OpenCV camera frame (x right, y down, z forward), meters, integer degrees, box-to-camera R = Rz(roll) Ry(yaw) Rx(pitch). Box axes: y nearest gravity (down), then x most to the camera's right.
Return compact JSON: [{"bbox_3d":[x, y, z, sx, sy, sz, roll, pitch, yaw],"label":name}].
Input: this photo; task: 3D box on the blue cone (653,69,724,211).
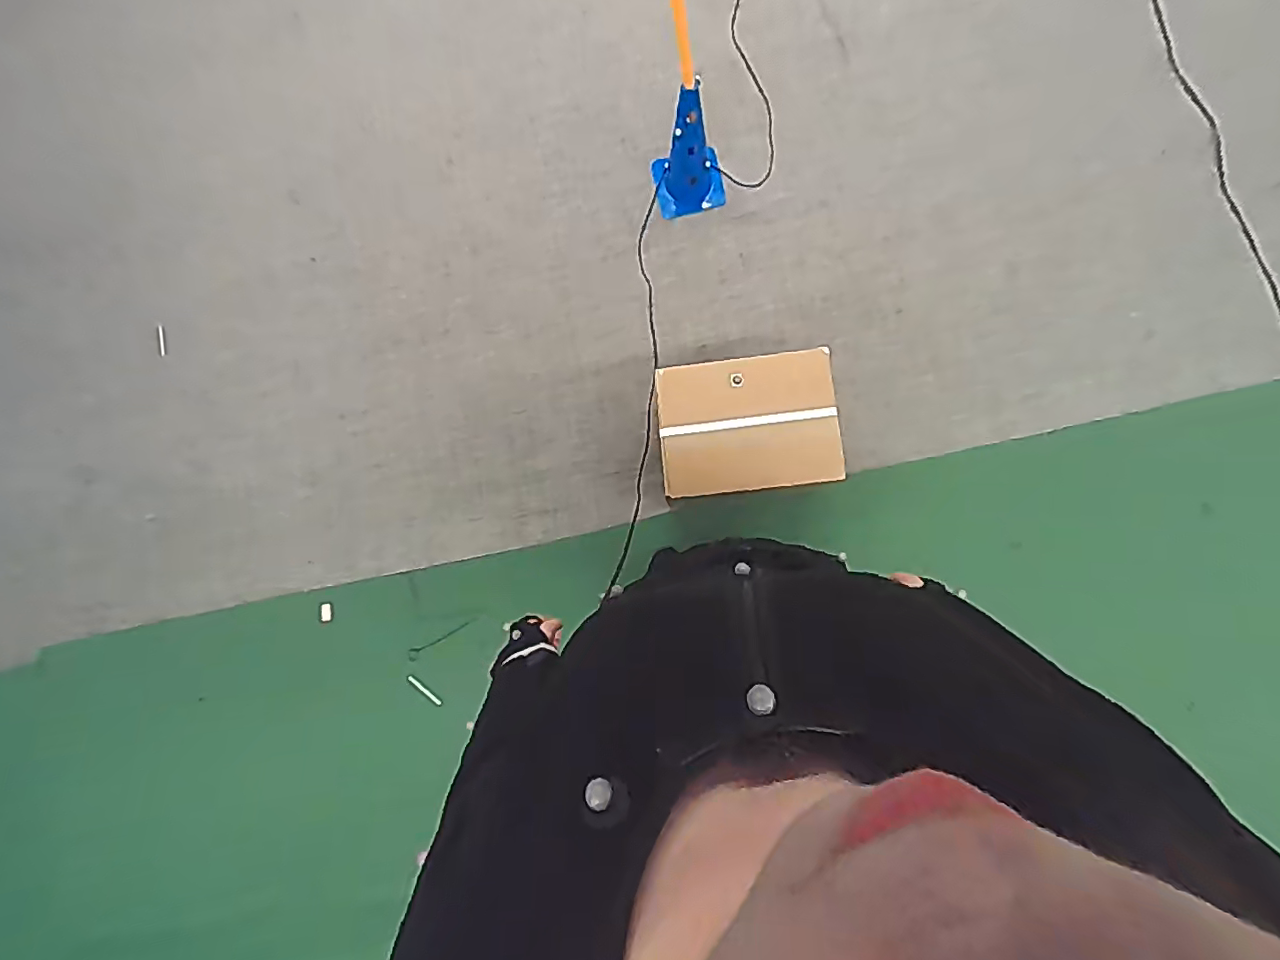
[{"bbox_3d":[0.129,-0.926,1.460,0.193,0.380,0.192,-16,82,4],"label":"blue cone"}]
